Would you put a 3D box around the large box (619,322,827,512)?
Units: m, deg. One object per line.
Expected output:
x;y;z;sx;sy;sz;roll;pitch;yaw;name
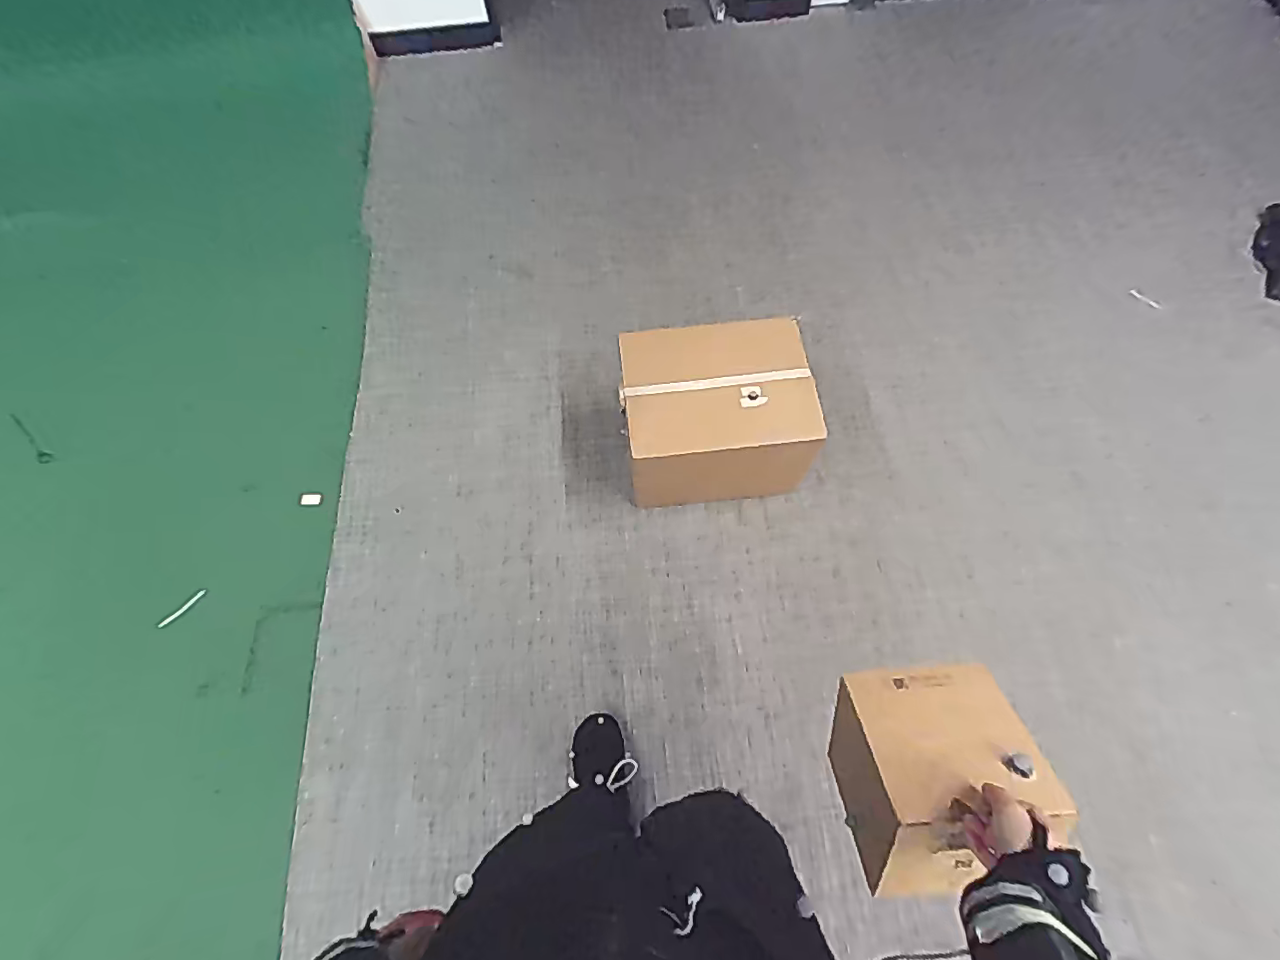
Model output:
0.168;-0.135;1.286;0.408;0.320;0.320;-6;68;-2;large box
